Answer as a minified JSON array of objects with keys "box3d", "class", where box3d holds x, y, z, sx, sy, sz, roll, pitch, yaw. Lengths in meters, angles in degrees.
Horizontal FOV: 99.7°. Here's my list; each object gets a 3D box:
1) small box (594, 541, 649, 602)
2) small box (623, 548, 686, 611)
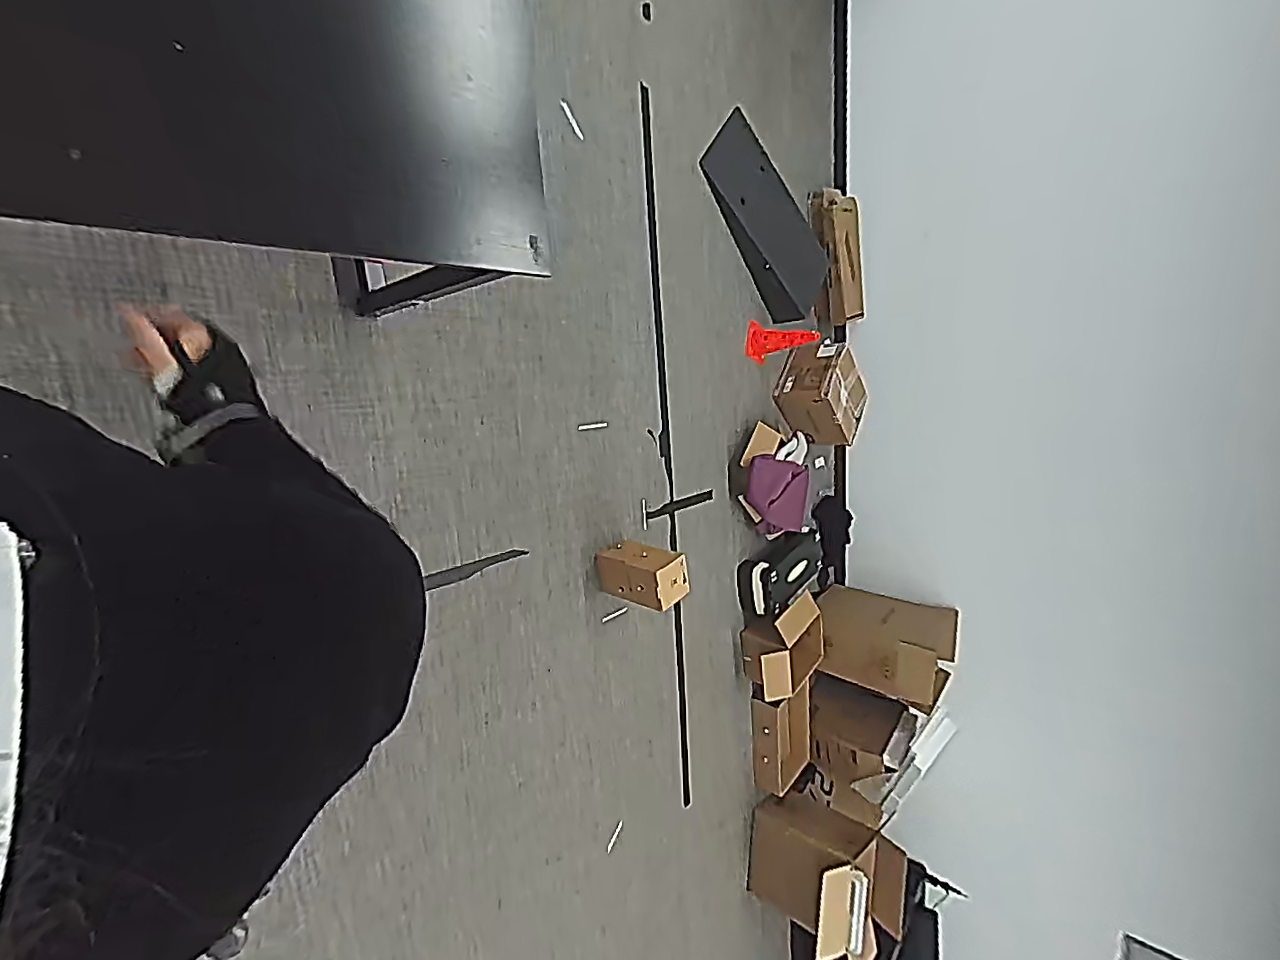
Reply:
[{"box3d":[-0.065,0.363,2.183,0.168,0.176,0.179,-23,111,-45],"class":"small box"},{"box3d":[0.051,0.375,2.069,0.179,0.176,0.168,-24,112,-44],"class":"small box"}]
